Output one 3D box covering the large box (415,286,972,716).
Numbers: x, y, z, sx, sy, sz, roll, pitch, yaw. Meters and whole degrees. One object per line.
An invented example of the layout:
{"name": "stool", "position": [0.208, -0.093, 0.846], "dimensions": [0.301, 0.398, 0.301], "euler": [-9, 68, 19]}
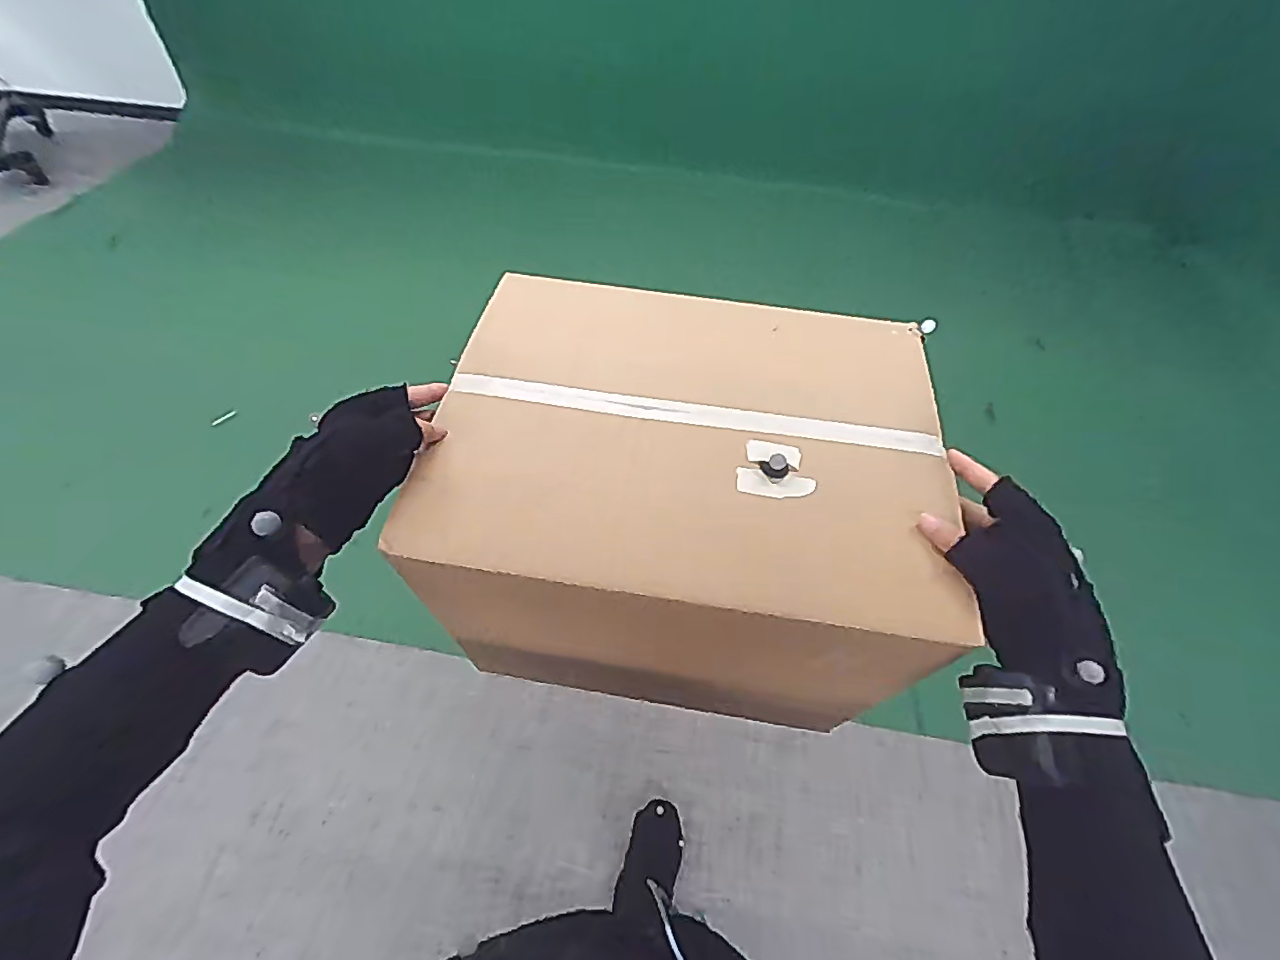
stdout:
{"name": "large box", "position": [0.045, 0.035, 0.582], "dimensions": [0.408, 0.320, 0.320], "euler": [9, 57, 3]}
